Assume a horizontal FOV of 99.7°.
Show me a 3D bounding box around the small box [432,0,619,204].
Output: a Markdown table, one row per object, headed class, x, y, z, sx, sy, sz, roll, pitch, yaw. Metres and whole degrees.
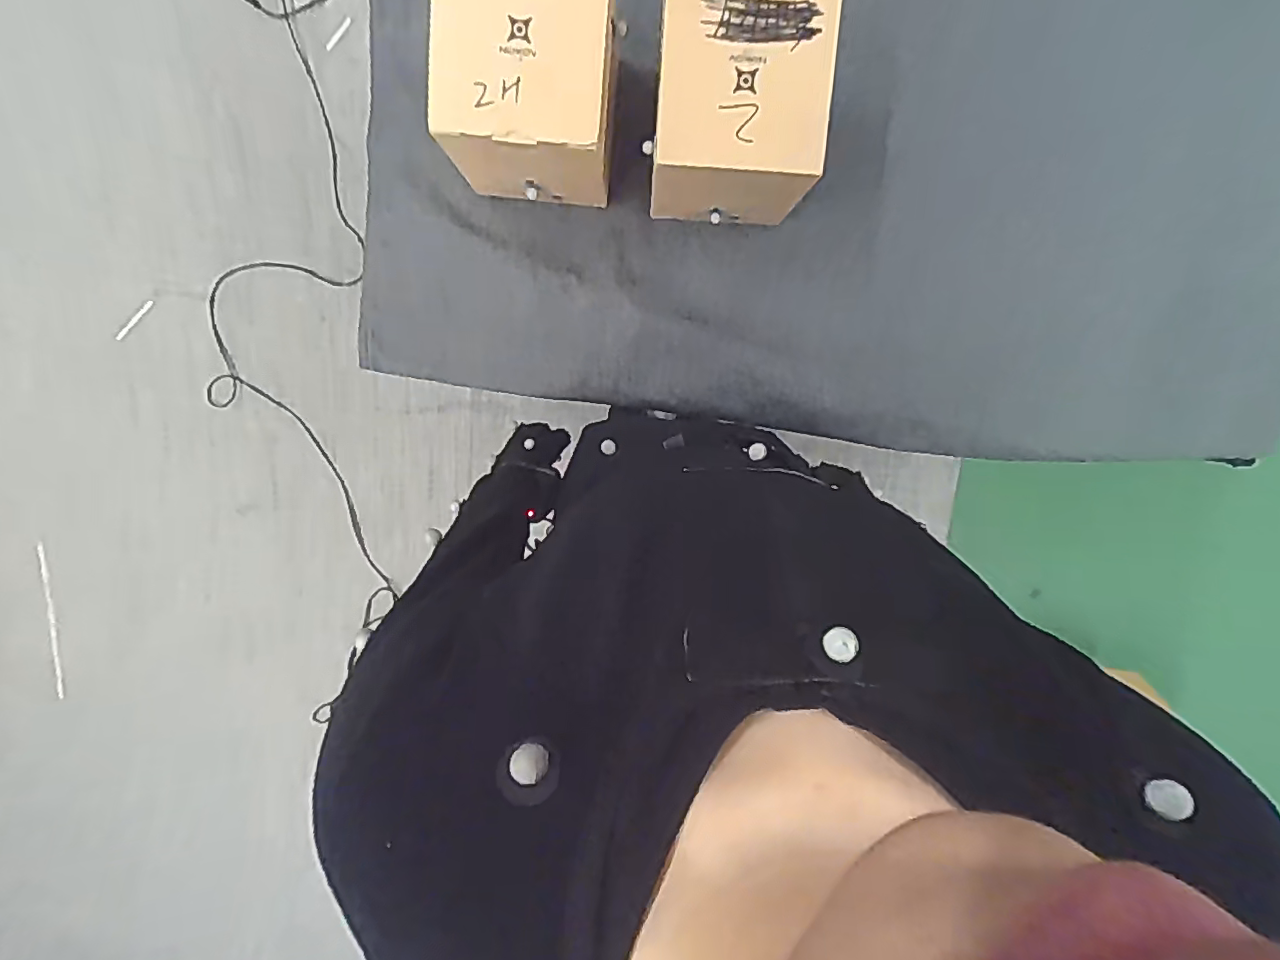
| class | x | y | z | sx | sy | sz | roll | pitch | yaw |
| --- | --- | --- | --- | --- | --- | --- | --- | --- | --- |
| small box | -0.111 | -0.427 | 0.586 | 0.168 | 0.176 | 0.179 | 5 | 99 | -1 |
